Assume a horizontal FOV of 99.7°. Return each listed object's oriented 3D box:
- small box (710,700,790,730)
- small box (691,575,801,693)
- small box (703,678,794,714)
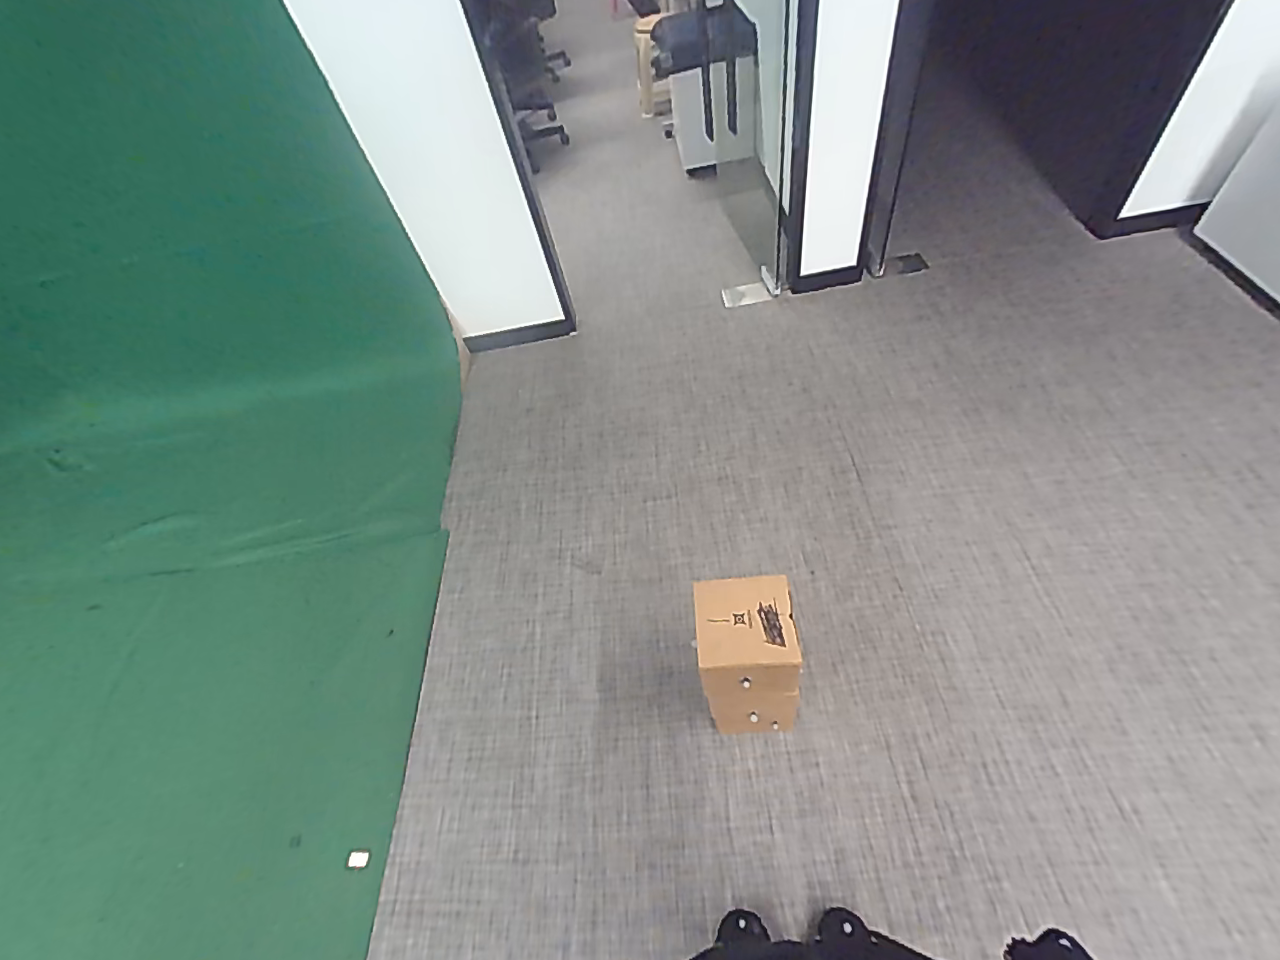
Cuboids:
[{"bbox_3d":[0.252,0.487,1.289,0.179,0.176,0.168,-8,52,8],"label":"small box"},{"bbox_3d":[0.194,0.296,1.028,0.179,0.176,0.168,-7,53,5],"label":"small box"},{"bbox_3d":[0.224,0.395,1.157,0.179,0.176,0.168,-3,53,9],"label":"small box"}]
